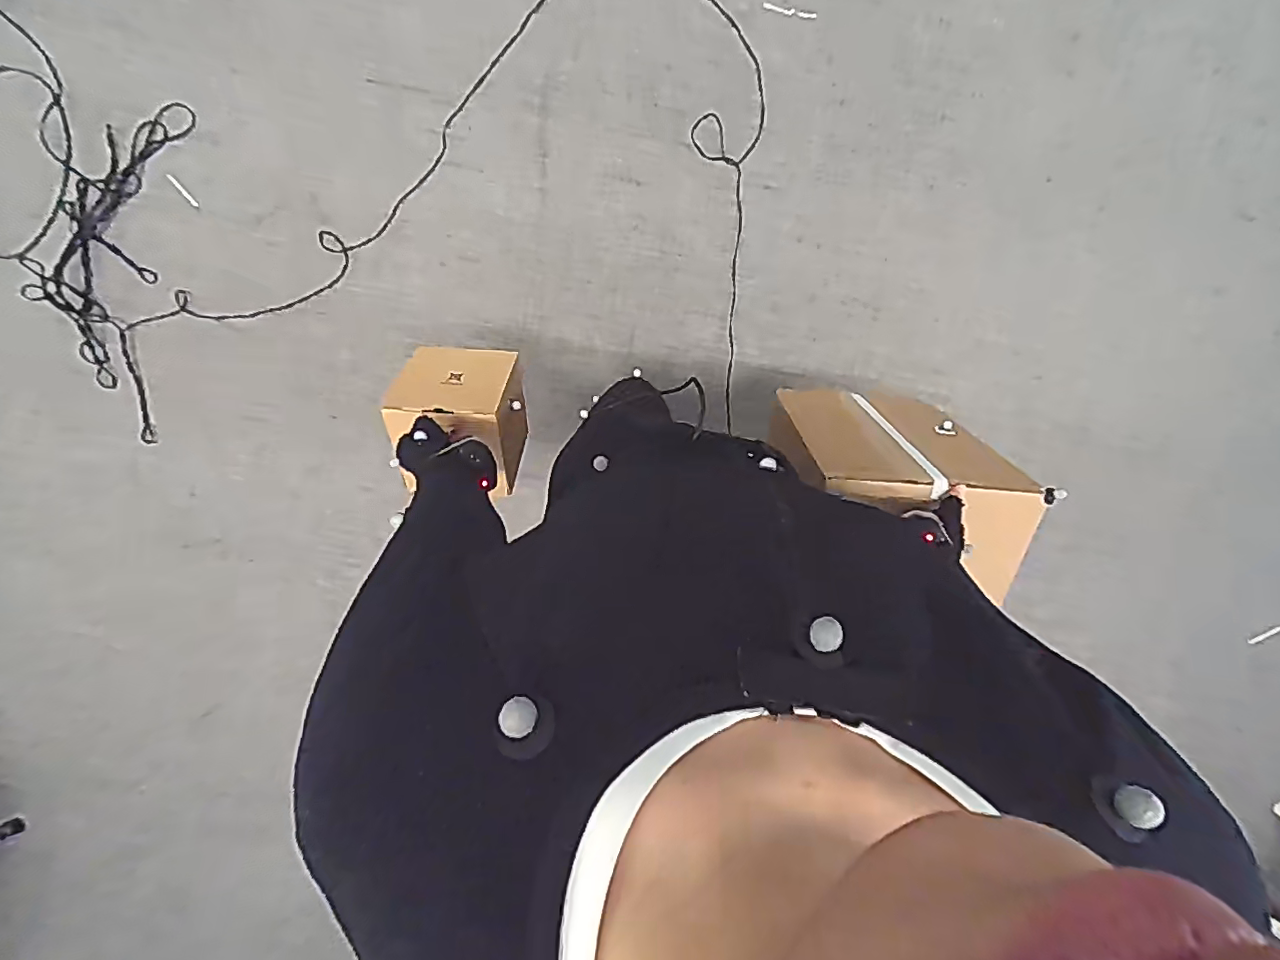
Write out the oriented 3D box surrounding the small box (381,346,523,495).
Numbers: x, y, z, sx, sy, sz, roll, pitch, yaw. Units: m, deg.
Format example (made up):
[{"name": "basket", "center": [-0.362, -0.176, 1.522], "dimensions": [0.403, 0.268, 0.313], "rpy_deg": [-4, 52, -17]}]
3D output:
[{"name": "small box", "center": [-0.290, -0.098, 0.883], "dimensions": [0.168, 0.179, 0.176], "rpy_deg": [3, 134, -1]}]
